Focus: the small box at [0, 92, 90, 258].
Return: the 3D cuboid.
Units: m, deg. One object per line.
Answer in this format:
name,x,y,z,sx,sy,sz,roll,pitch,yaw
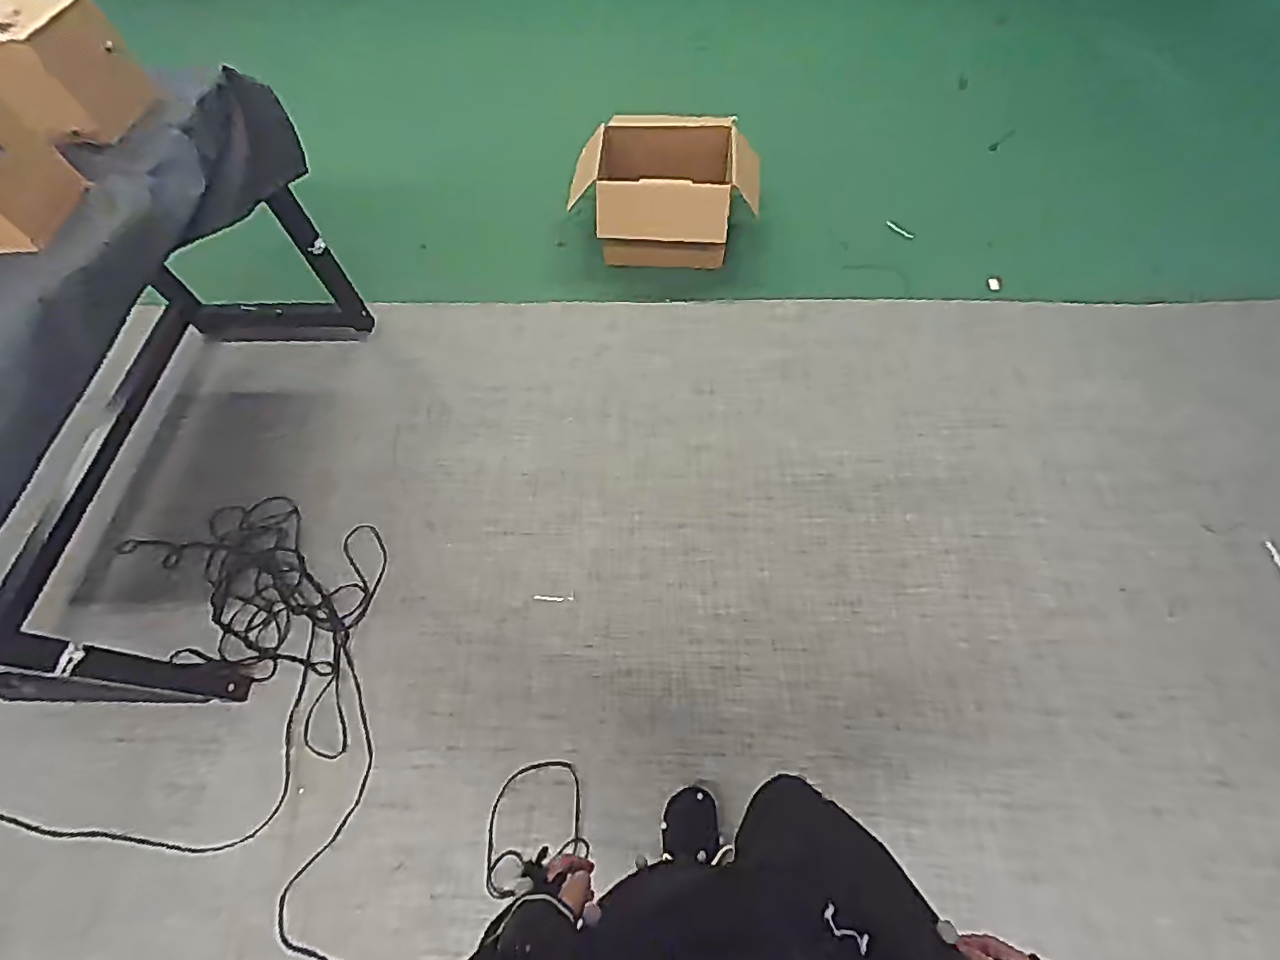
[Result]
small box,-1.052,-0.480,0.859,0.168,0.176,0.179,-2,62,1
